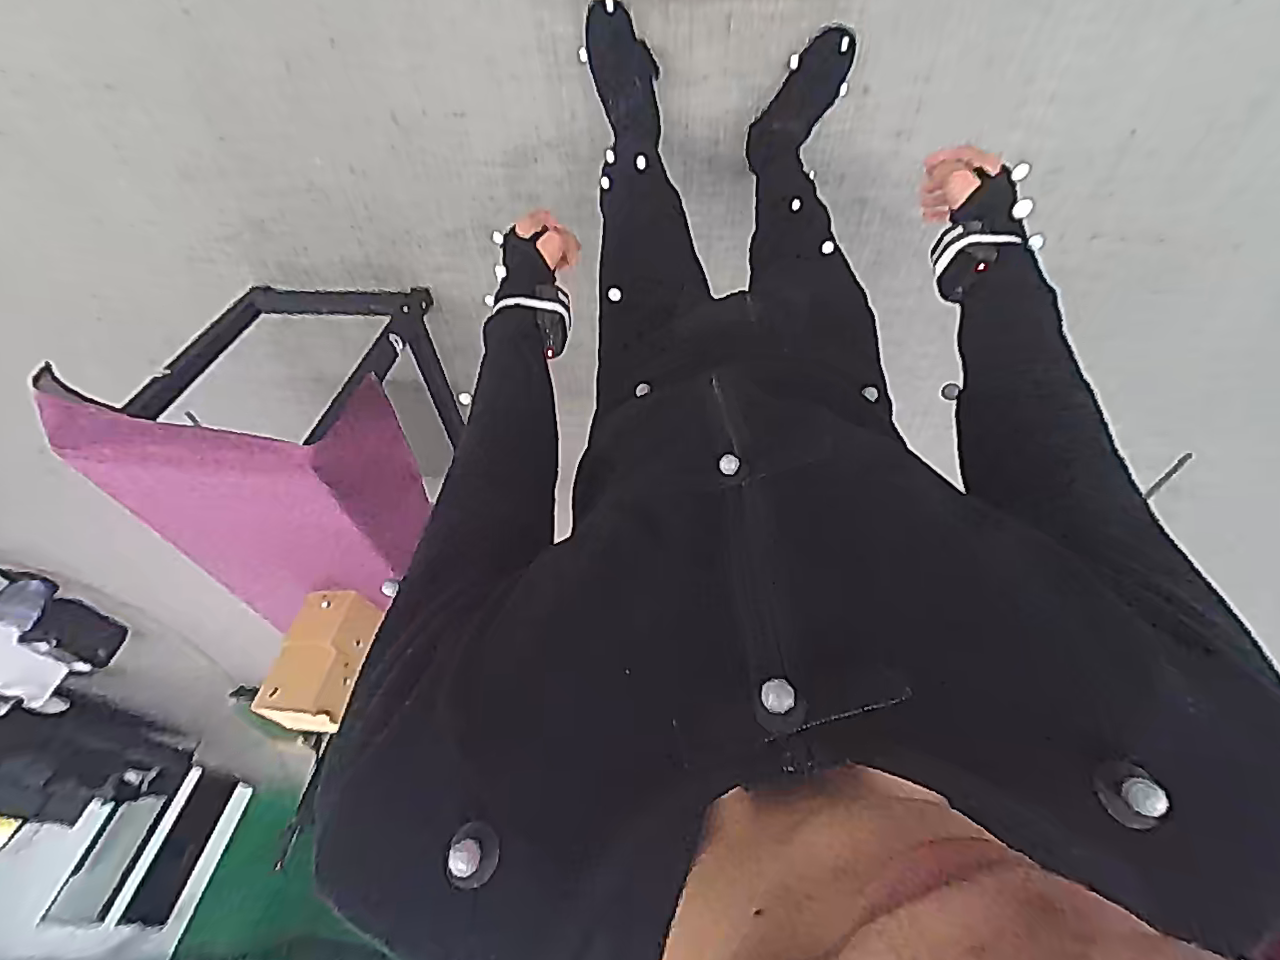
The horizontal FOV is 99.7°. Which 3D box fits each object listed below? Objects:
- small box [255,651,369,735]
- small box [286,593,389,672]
[{"bbox_3d":[-0.899,0.588,1.501,0.179,0.176,0.168,0,140,10],"label":"small box"},{"bbox_3d":[-0.877,0.449,1.589,0.168,0.176,0.179,-4,138,13],"label":"small box"}]
